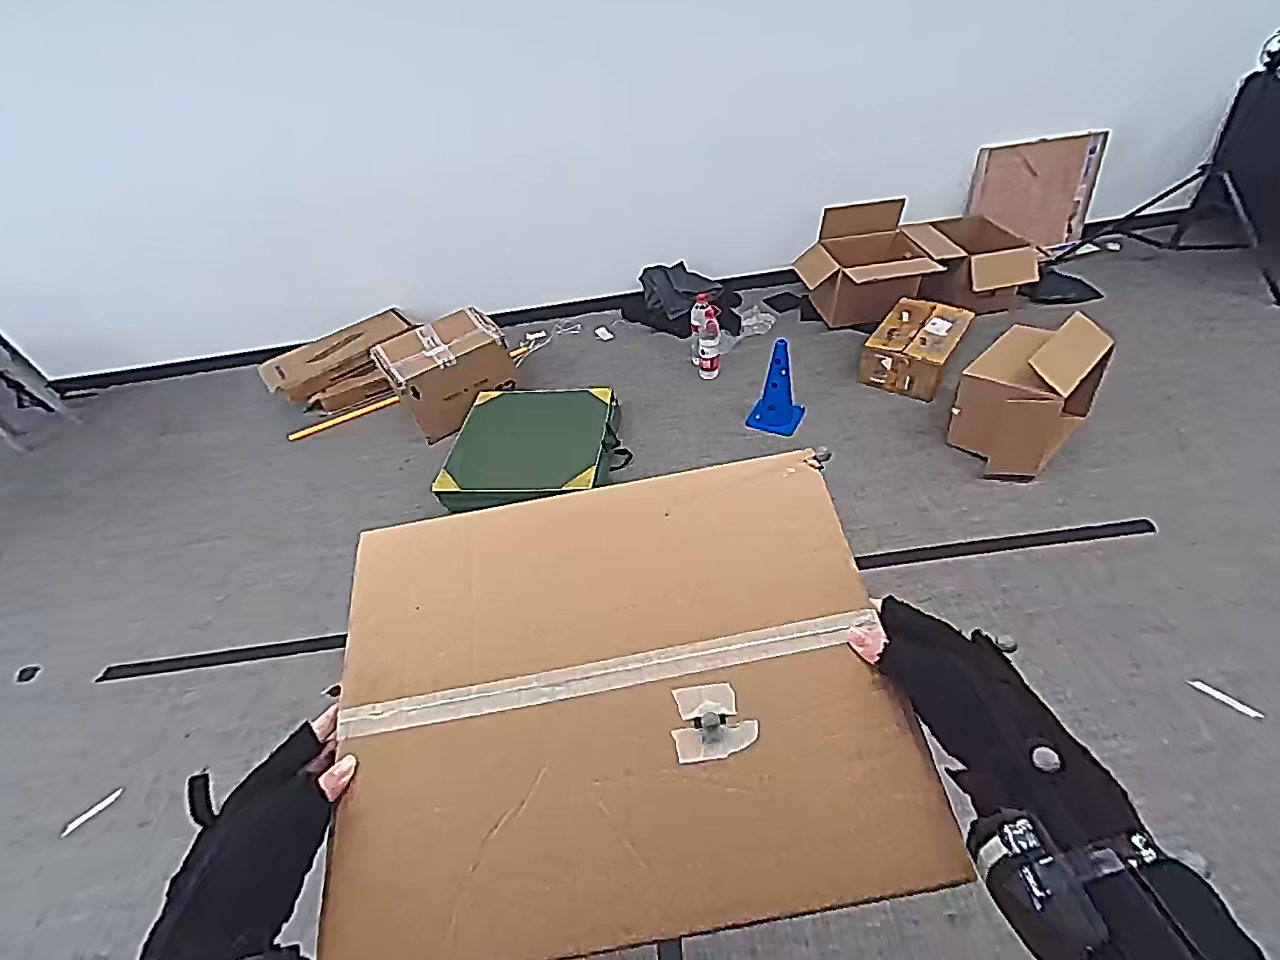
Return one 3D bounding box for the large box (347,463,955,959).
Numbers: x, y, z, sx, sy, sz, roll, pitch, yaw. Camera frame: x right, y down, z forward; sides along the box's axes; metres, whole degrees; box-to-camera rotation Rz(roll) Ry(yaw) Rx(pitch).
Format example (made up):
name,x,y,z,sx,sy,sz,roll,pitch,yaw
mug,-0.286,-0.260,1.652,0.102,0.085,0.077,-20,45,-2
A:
name,x,y,z,sx,sy,sz,roll,pitch,yaw
large box,-0.006,0.225,0.542,0.408,0.320,0.320,-11,61,-1
